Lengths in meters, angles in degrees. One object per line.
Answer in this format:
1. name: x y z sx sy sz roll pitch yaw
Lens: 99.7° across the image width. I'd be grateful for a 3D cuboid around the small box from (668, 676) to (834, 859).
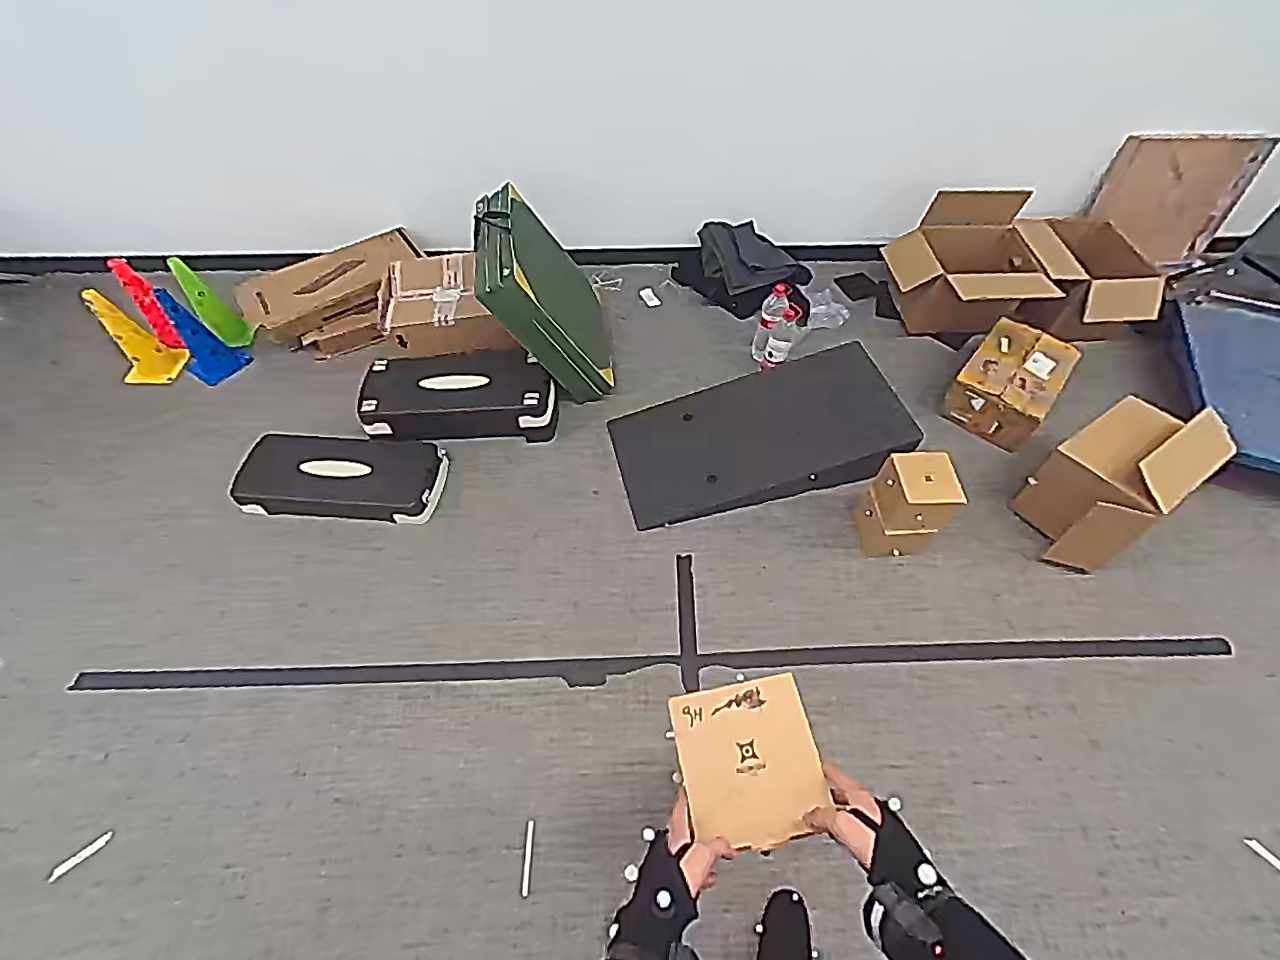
1. small box: 0.137 0.379 0.721 0.168 0.176 0.179 -12 59 0
